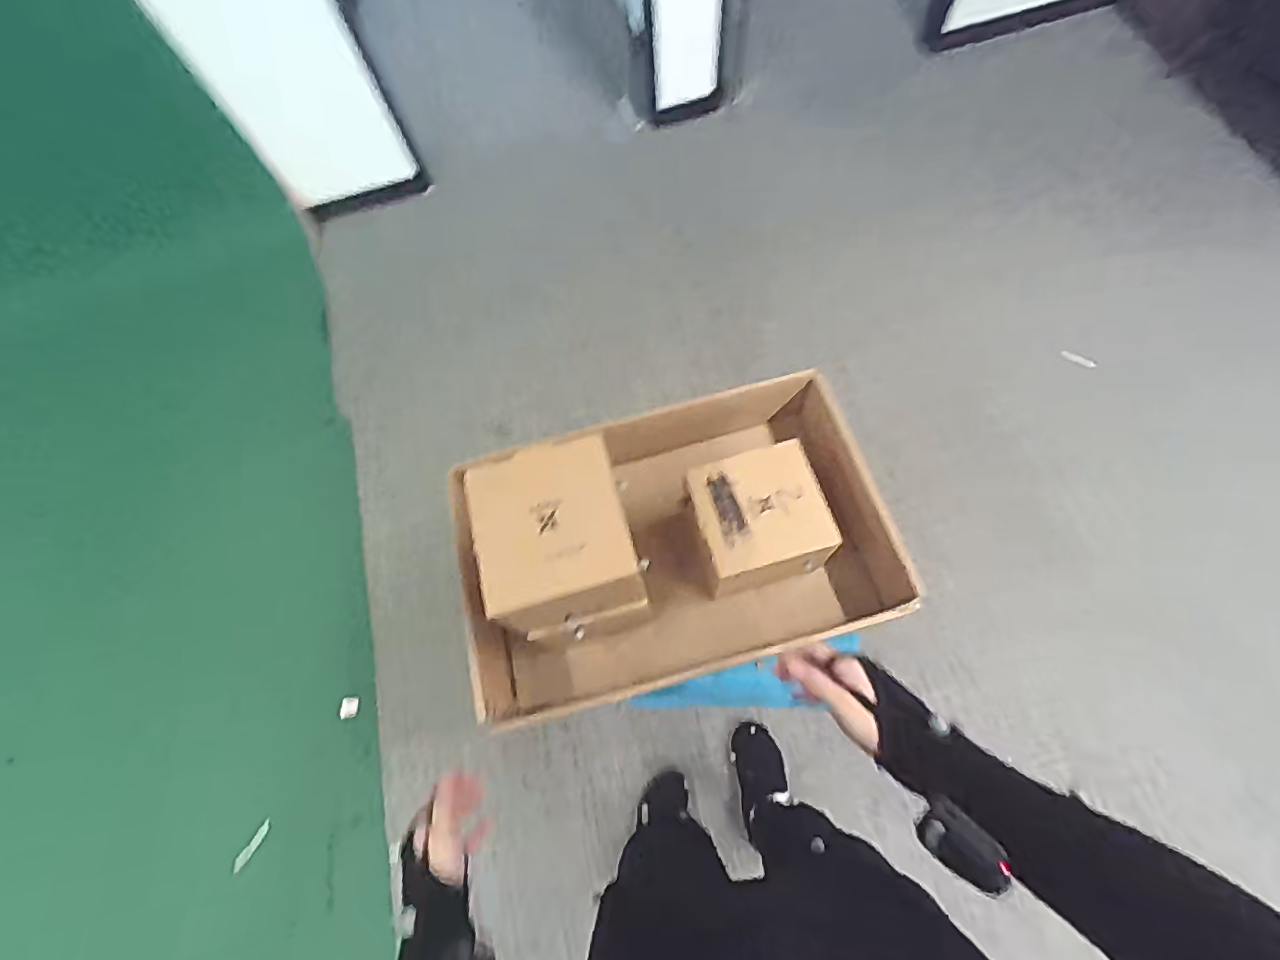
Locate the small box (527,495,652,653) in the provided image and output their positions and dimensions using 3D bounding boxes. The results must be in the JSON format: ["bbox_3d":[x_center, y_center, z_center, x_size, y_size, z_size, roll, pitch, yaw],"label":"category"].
[{"bbox_3d":[-0.083,0.148,0.820,0.168,0.176,0.179,-16,66,-2],"label":"small box"}]

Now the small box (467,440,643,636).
[{"bbox_3d":[-0.098,0.079,0.673,0.168,0.176,0.179,-16,67,-2],"label":"small box"}]
